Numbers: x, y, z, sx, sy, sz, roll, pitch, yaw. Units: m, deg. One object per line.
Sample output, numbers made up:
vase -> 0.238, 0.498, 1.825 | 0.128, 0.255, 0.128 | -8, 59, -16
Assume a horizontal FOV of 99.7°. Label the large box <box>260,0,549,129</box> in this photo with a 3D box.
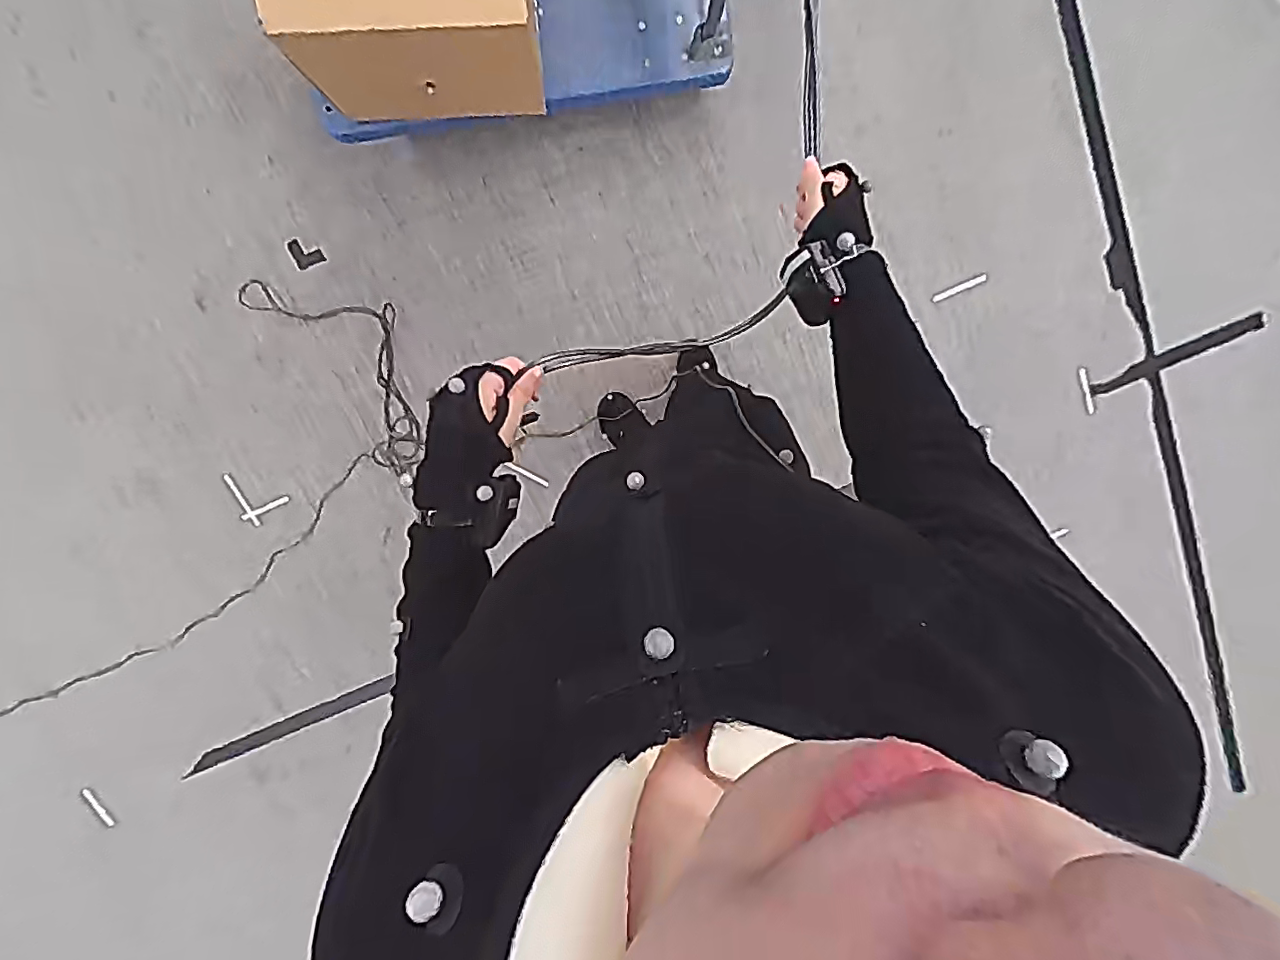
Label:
large box -> -0.391, -0.857, 0.949 | 0.408, 0.320, 0.320 | -5, 101, -3
